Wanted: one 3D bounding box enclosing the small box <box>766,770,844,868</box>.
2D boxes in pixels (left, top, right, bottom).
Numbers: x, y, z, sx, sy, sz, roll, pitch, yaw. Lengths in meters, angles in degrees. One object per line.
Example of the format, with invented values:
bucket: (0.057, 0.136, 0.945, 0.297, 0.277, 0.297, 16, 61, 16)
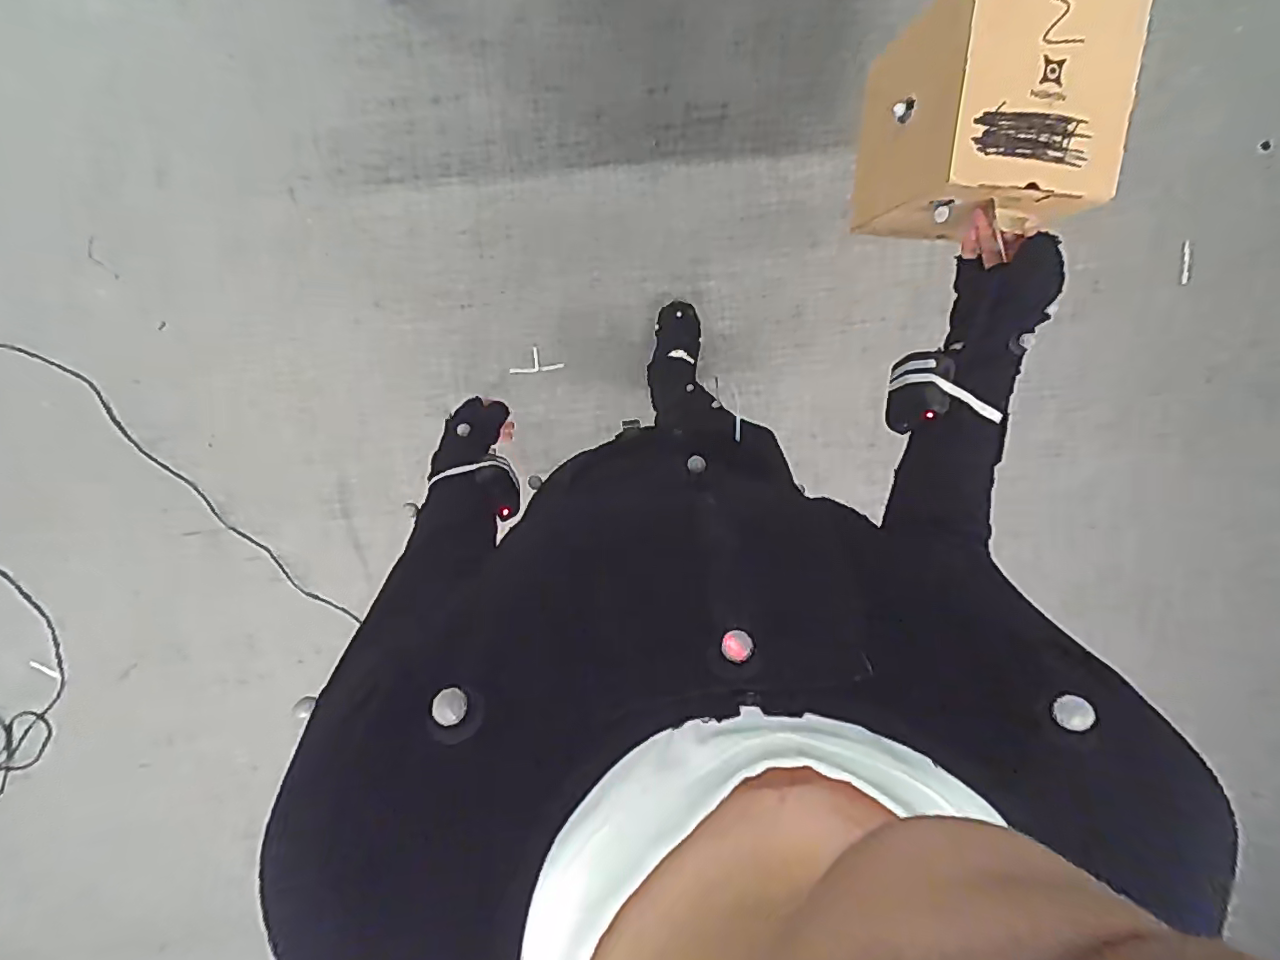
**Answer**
small box: (0.465, 0.966, 1.550, 0.168, 0.176, 0.179, 0, 100, -3)
